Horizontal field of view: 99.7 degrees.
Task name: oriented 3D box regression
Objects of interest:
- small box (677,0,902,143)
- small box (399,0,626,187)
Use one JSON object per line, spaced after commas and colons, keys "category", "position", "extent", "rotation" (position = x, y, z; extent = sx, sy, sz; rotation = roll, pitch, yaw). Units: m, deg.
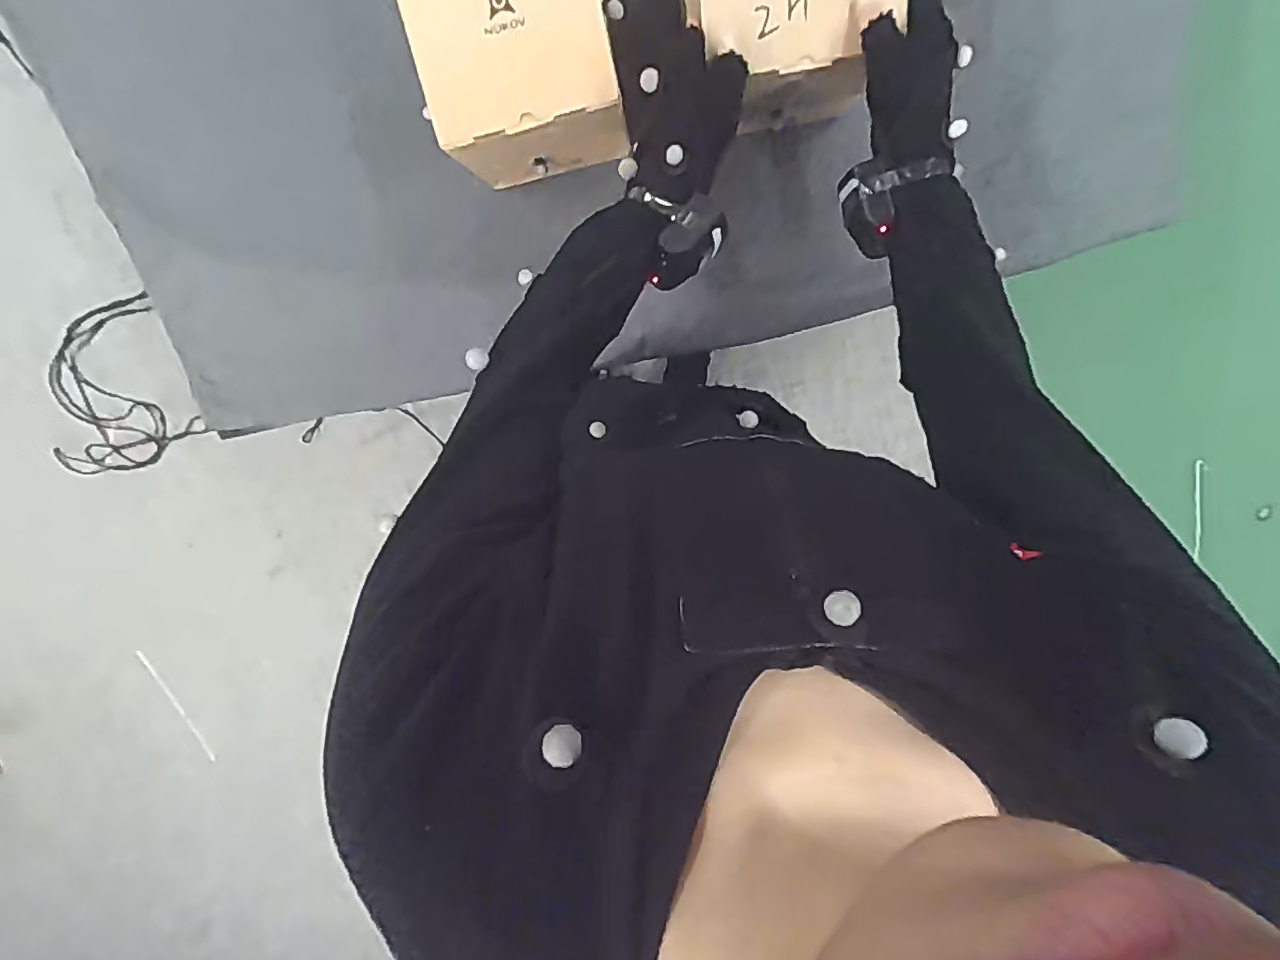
{"category": "small box", "position": [0.125, -0.446, 0.502], "extent": [0.168, 0.176, 0.179], "rotation": [-8, 107, 4]}
{"category": "small box", "position": [-0.113, -0.413, 0.524], "extent": [0.168, 0.176, 0.179], "rotation": [-11, 107, 6]}
